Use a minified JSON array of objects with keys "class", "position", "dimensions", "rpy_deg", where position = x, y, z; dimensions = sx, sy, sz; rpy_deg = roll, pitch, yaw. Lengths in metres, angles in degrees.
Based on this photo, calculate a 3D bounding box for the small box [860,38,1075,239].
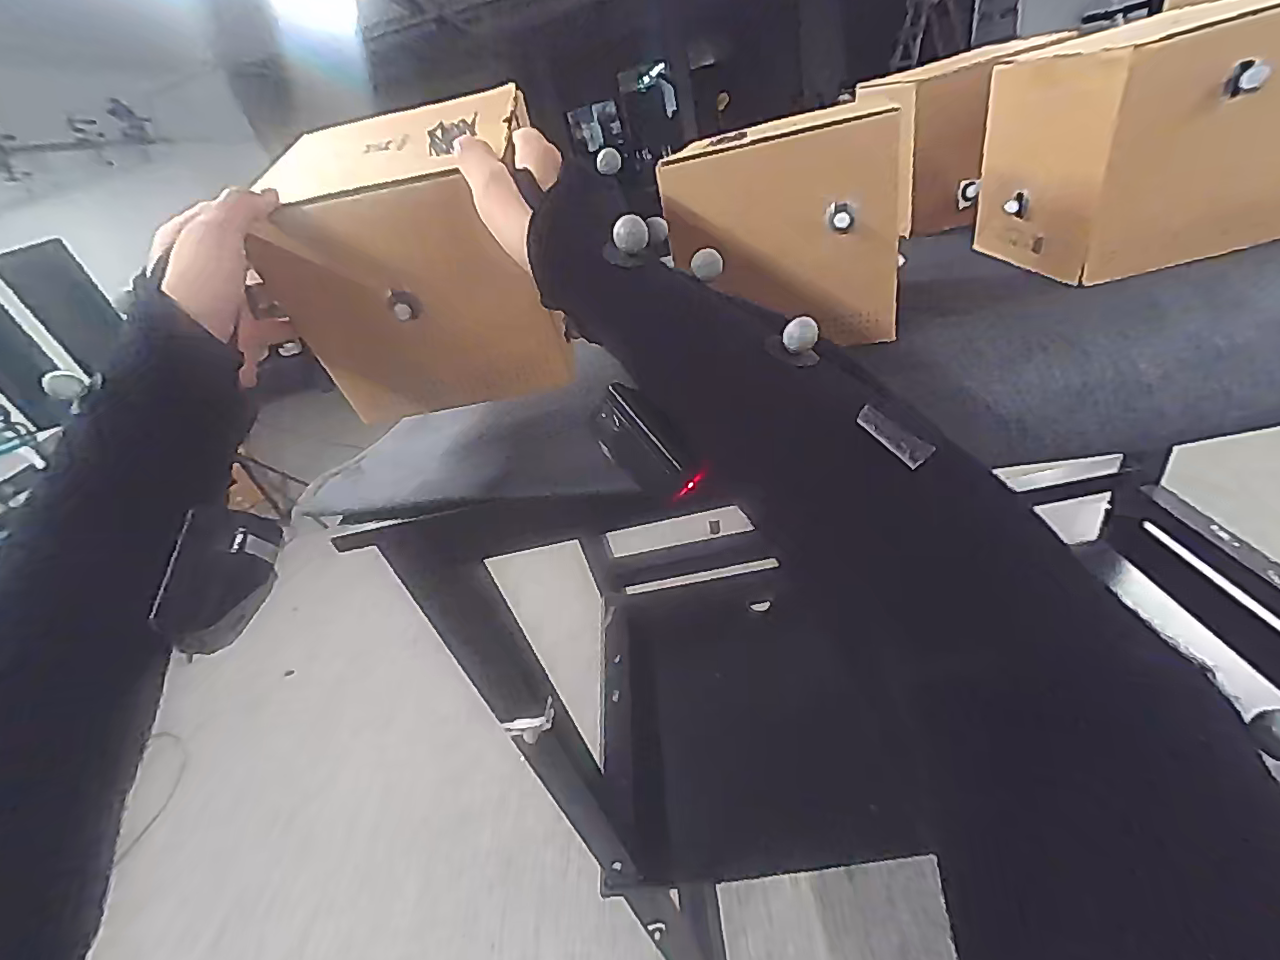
[{"class":"small box","position":[0.387,-0.418,0.679],"dimensions":[0.168,0.176,0.179],"rpy_deg":[-13,34,6]}]

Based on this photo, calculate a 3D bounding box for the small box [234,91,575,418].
[{"class":"small box","position":[-0.152,-0.172,0.429],"dimensions":[0.179,0.176,0.168],"rpy_deg":[-10,48,4]}]

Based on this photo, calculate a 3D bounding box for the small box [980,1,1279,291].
[{"class":"small box","position":[0.432,-0.284,0.469],"dimensions":[0.179,0.176,0.168],"rpy_deg":[-13,34,6]}]
